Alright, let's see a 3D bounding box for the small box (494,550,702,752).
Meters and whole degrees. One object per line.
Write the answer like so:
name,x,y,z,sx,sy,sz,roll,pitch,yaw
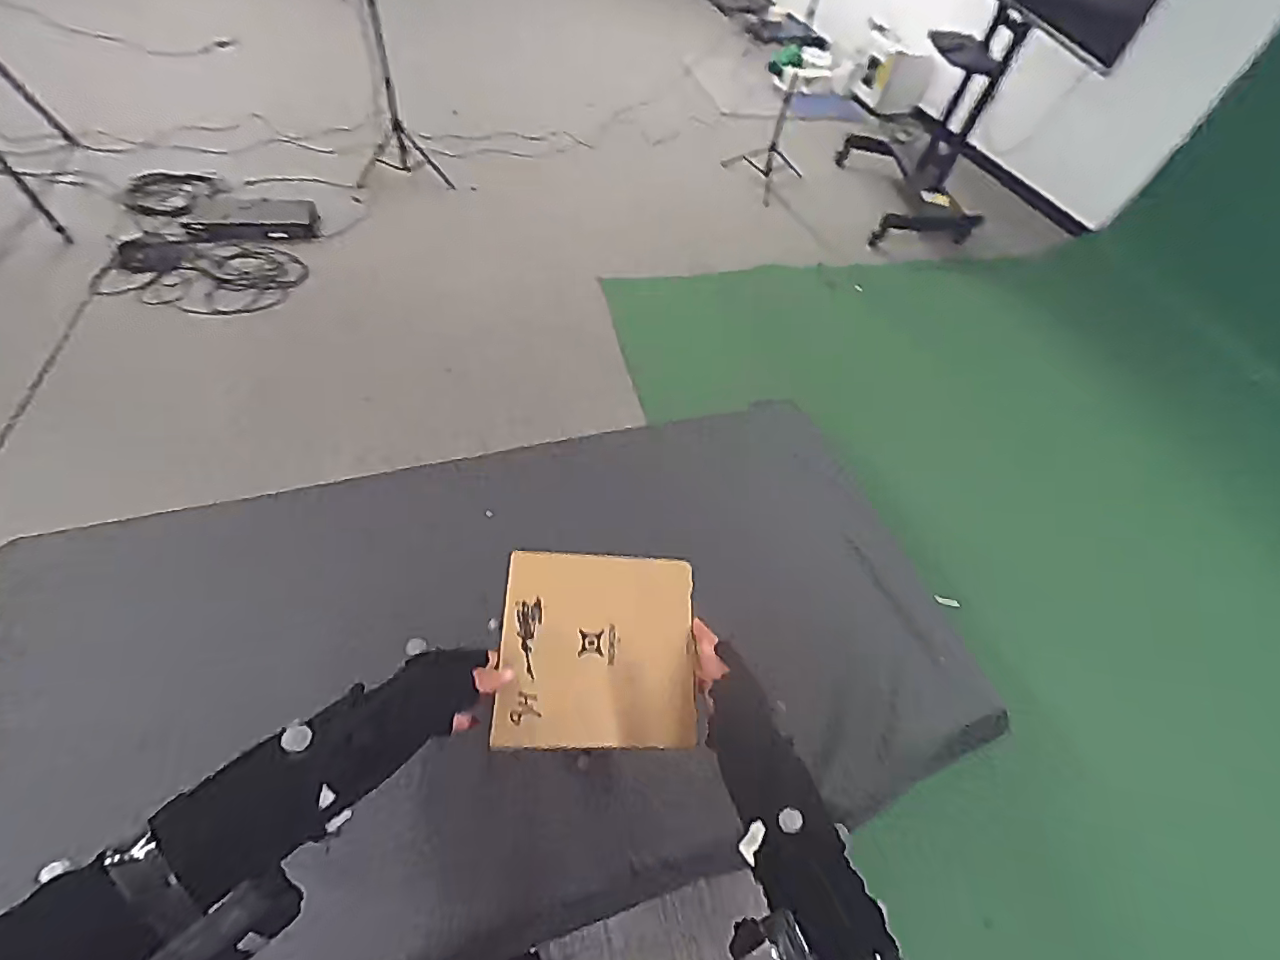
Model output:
small box,-0.044,0.183,0.554,0.179,0.176,0.168,6,62,-8
